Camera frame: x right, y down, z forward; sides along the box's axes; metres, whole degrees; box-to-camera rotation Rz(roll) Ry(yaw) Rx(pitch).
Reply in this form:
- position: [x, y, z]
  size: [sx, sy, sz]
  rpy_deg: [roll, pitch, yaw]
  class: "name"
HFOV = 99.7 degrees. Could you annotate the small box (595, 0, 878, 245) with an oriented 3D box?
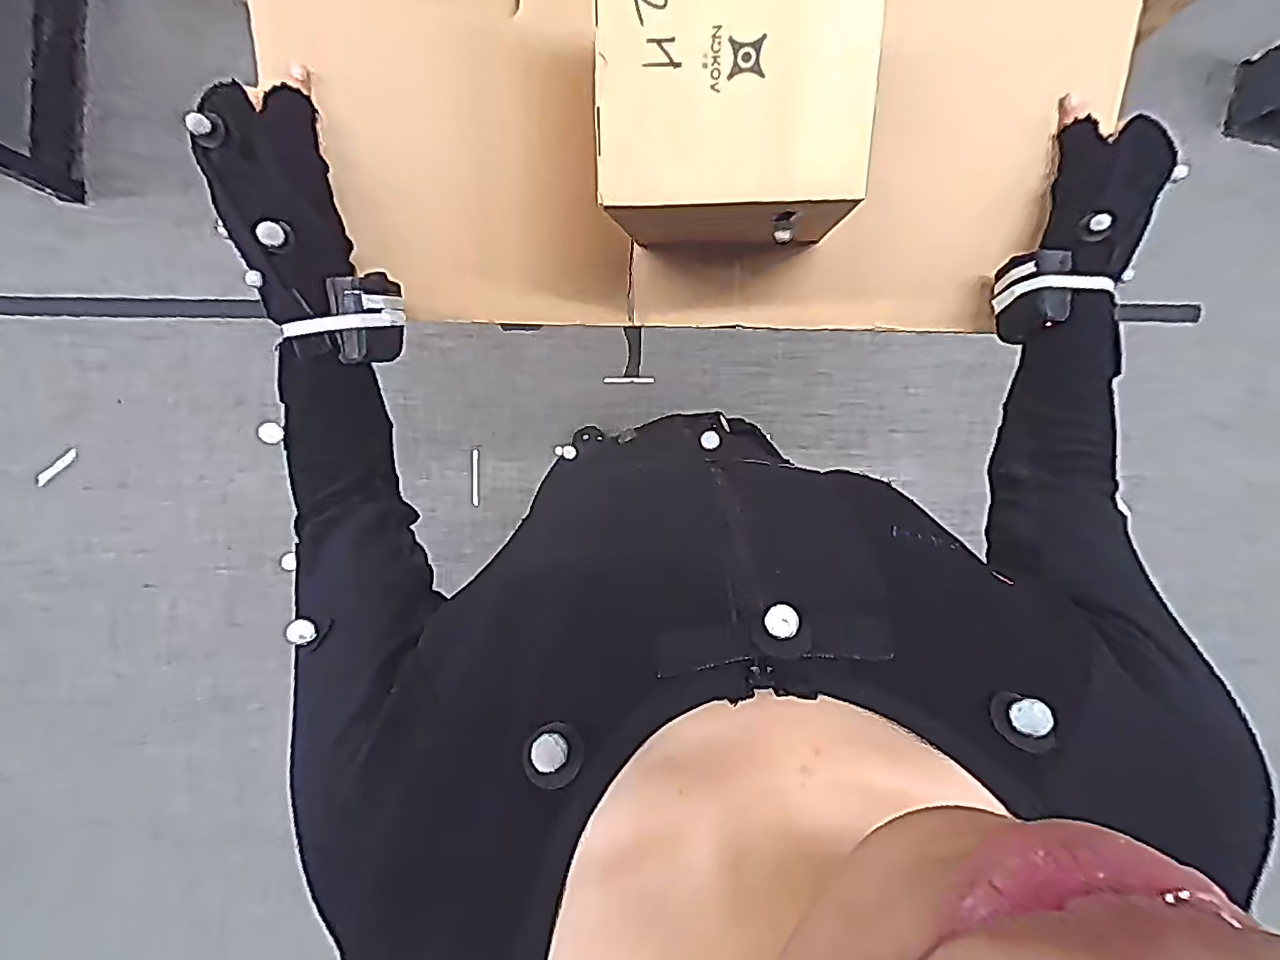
- position: [0.068, -0.284, 0.419]
  size: [0.179, 0.176, 0.168]
  rpy_deg: [3, 105, 9]
  class: "small box"
